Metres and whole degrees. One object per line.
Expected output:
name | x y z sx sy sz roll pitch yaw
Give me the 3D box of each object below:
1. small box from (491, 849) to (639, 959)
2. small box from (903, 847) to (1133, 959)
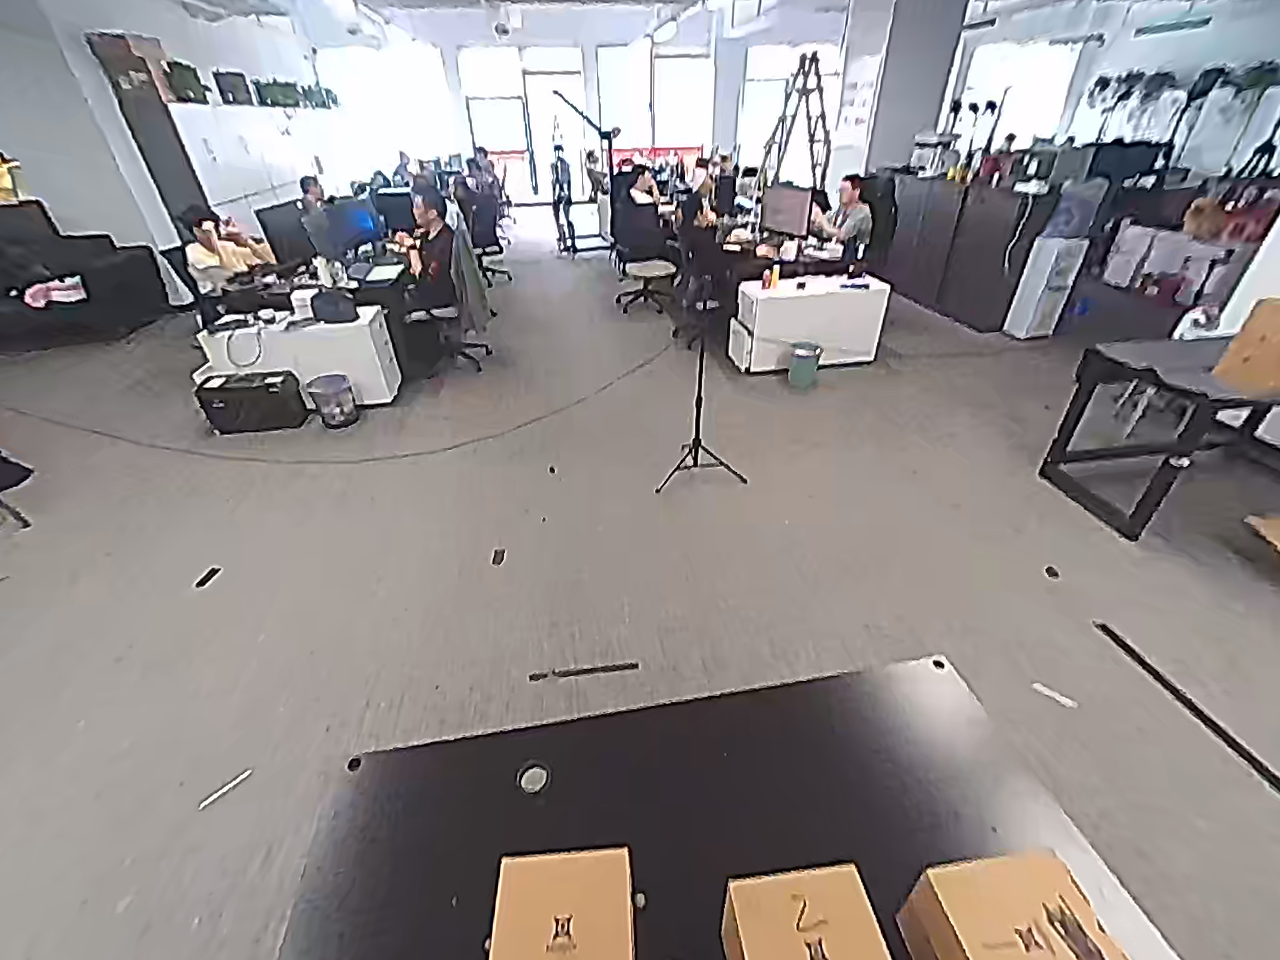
small box | -0.087 0.597 0.670 0.168 0.176 0.179 -4 34 -2
small box | 0.456 0.586 0.658 0.179 0.176 0.168 -7 33 -5
